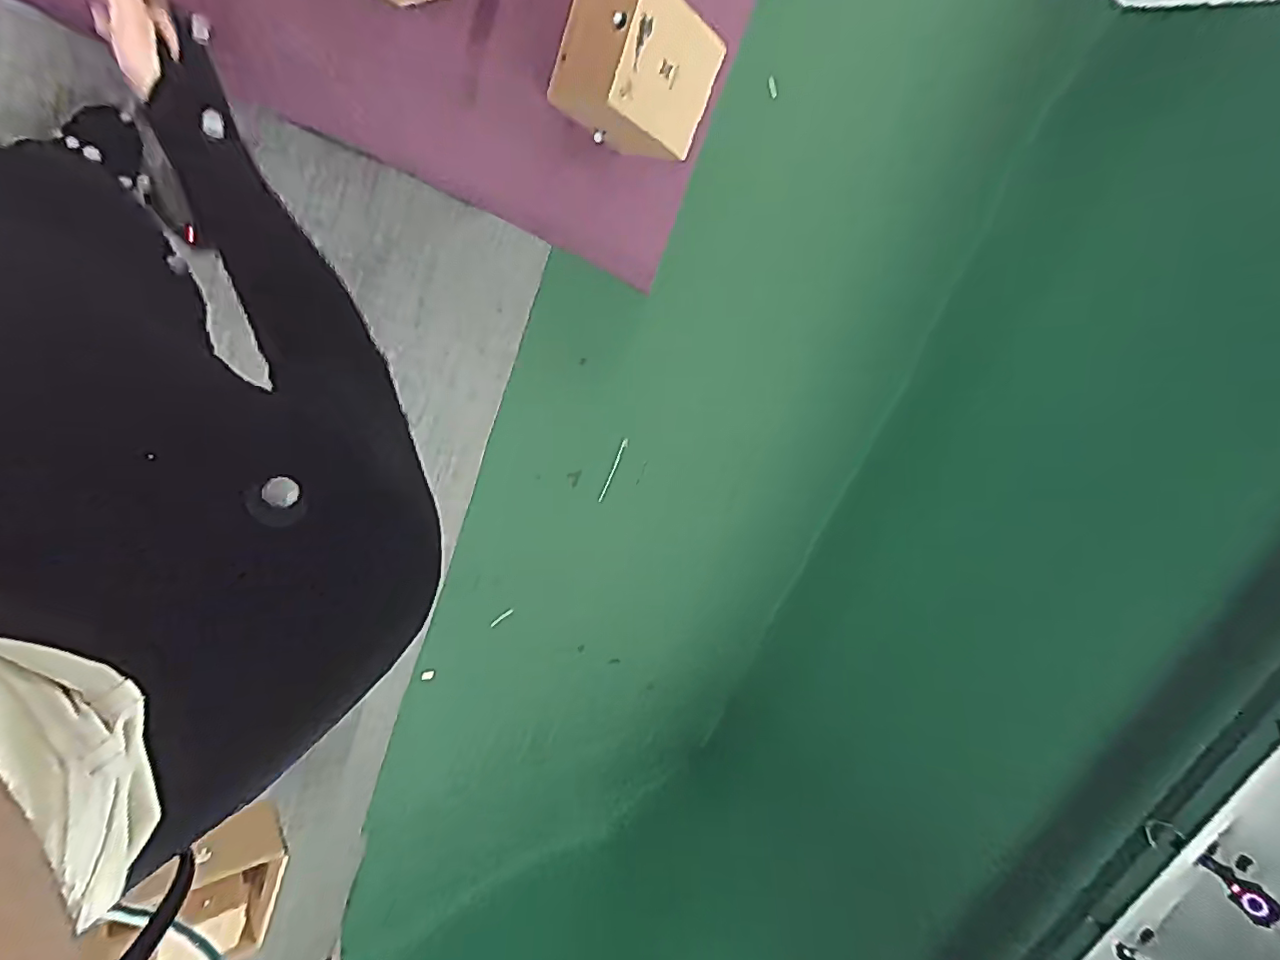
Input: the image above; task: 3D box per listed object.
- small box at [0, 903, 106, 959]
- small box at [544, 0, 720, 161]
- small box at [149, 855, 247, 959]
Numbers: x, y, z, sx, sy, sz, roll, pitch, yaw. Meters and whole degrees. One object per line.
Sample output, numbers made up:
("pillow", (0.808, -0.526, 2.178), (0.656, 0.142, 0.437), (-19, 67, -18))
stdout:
("small box", (-1.350, 1.133, 1.236), (0.168, 0.176, 0.179), (8, 110, -47))
("small box", (-0.015, -0.625, 0.834), (0.179, 0.176, 0.168), (4, 114, -47))
("small box", (-1.170, 1.146, 1.428), (0.179, 0.176, 0.168), (6, 112, -46))
